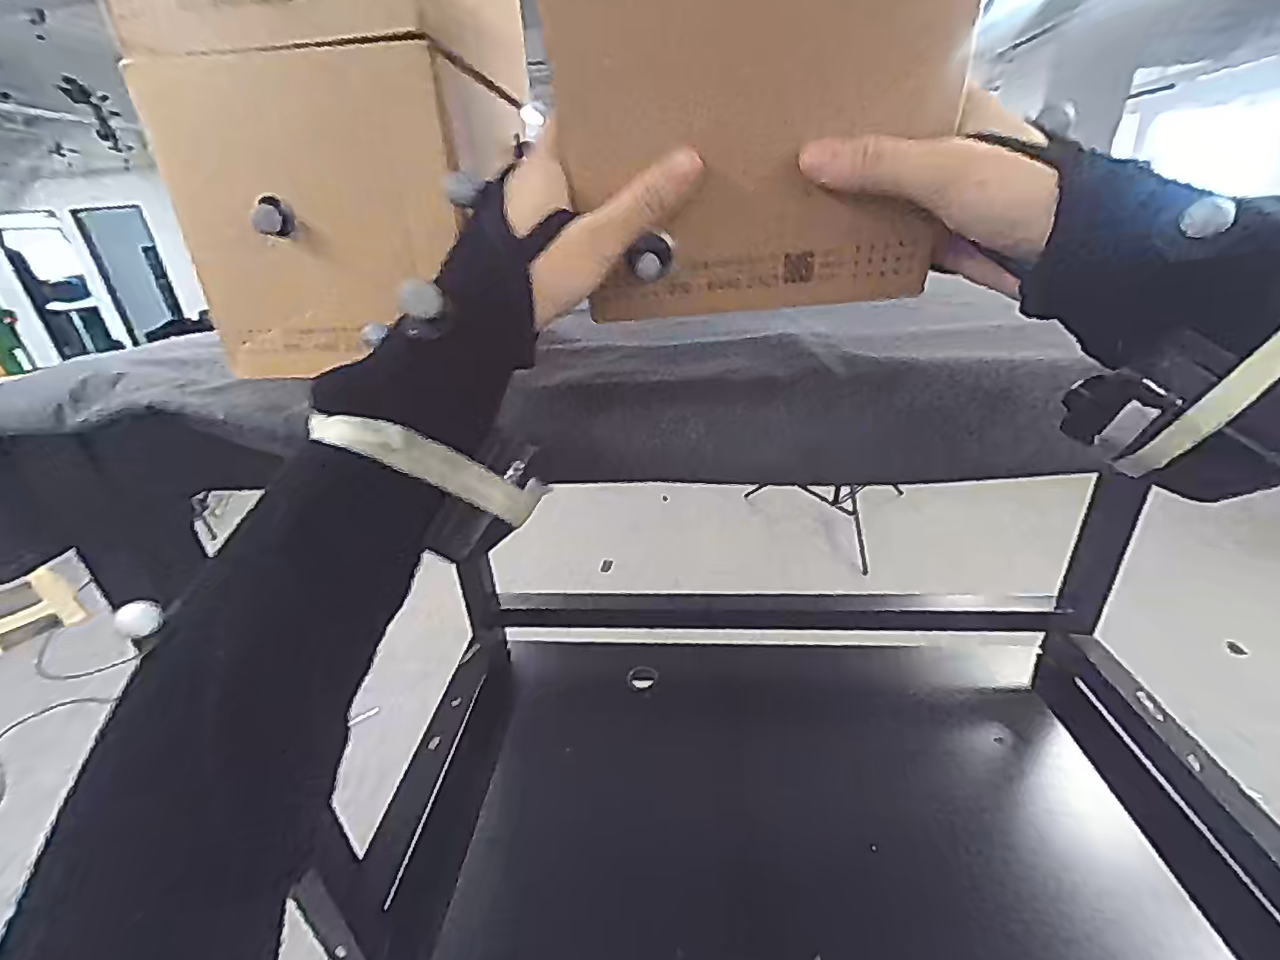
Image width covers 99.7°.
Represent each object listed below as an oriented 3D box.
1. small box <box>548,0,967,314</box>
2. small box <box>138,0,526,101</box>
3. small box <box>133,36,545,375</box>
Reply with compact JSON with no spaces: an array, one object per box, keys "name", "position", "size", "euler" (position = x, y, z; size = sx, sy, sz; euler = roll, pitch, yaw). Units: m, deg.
[{"name":"small box","position":[0.057,-0.197,0.297],"size":[0.168,0.176,0.179],"euler":[-3,35,6]},{"name":"small box","position":[-0.172,-0.319,0.310],"size":[0.168,0.176,0.179],"euler":[-1,25,7]},{"name":"small box","position":[-0.169,-0.171,0.377],"size":[0.168,0.176,0.179],"euler":[0,24,4]}]
